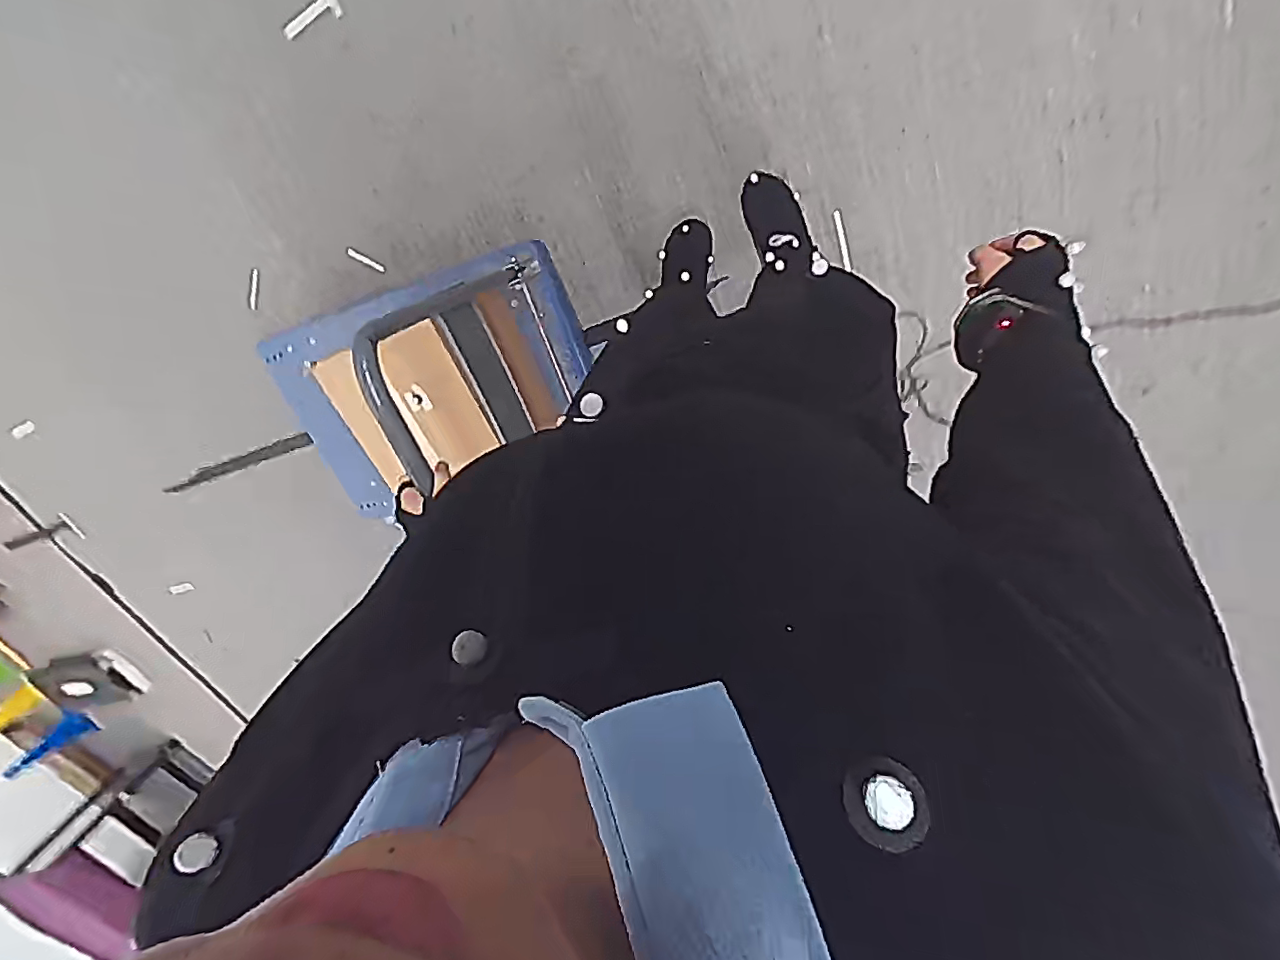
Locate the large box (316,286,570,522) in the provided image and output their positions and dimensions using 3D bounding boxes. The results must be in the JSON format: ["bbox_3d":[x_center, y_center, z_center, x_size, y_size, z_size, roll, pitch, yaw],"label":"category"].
[{"bbox_3d":[-0.414,-0.175,1.239,0.320,0.320,0.408,-15,114,19],"label":"large box"}]
